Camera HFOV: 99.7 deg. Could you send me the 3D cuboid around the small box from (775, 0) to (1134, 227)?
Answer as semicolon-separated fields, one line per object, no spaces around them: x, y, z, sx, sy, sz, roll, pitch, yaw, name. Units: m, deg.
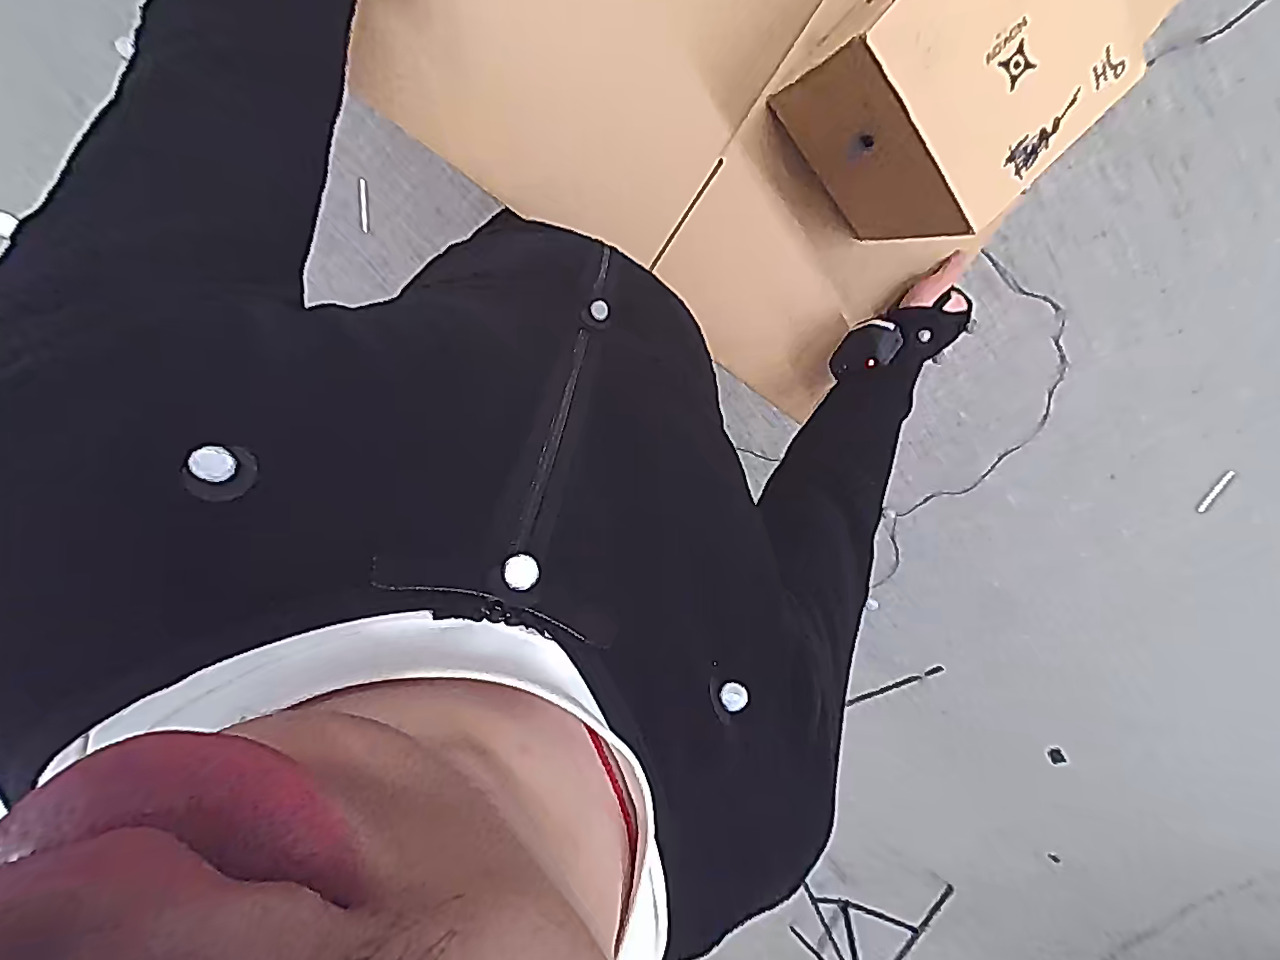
0.249;-0.344;0.467;0.168;0.176;0.179;-45;112;9;small box
